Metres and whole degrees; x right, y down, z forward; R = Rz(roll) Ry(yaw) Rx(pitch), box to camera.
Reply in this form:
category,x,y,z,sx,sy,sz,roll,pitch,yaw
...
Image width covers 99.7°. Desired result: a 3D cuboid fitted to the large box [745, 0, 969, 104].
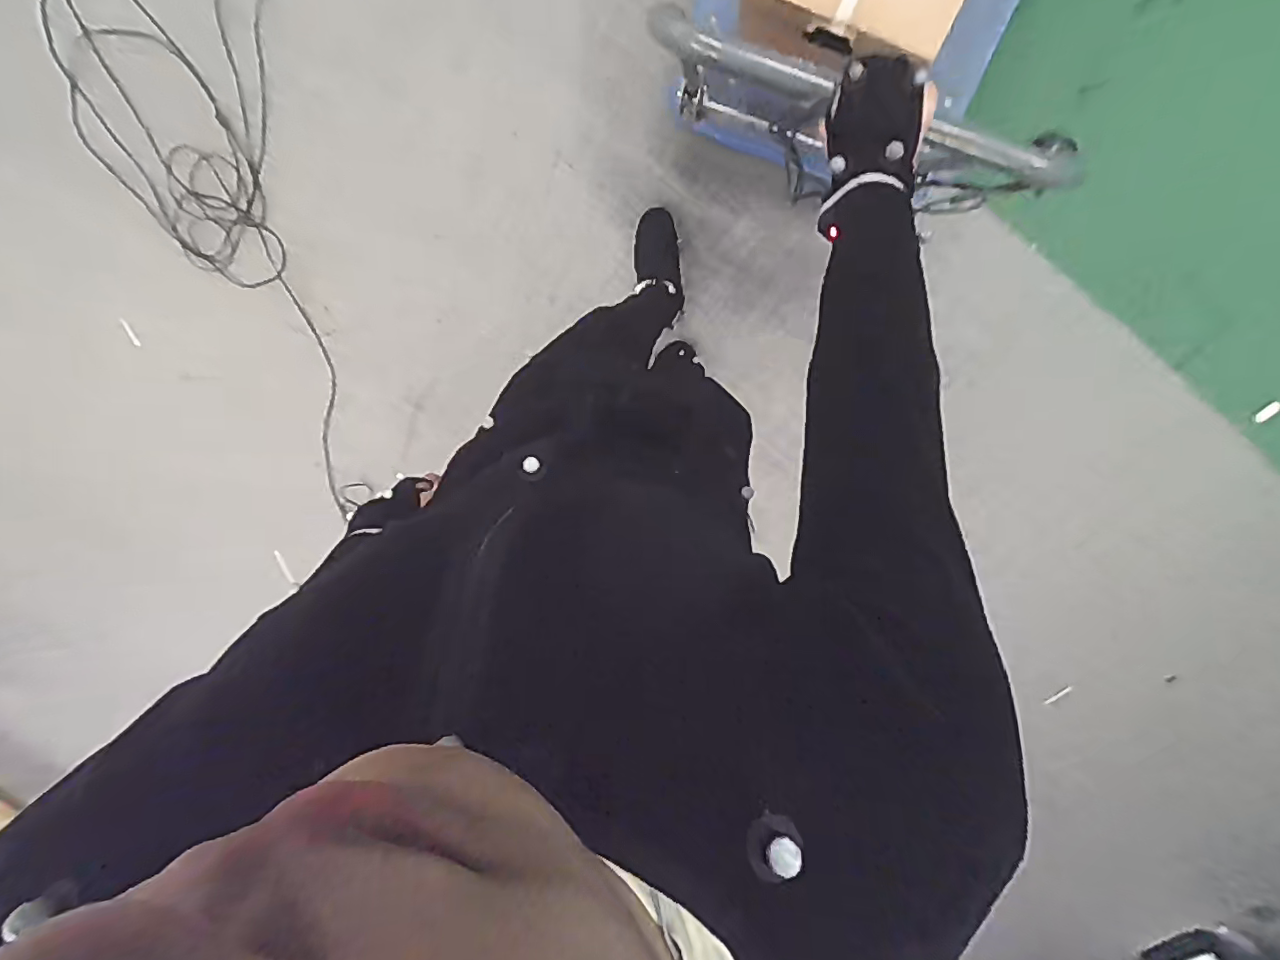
category,x,y,z,sx,sy,sz,roll,pitch,yaw
large box,0.386,-0.900,0.851,0.320,0.320,0.408,22,115,-2
